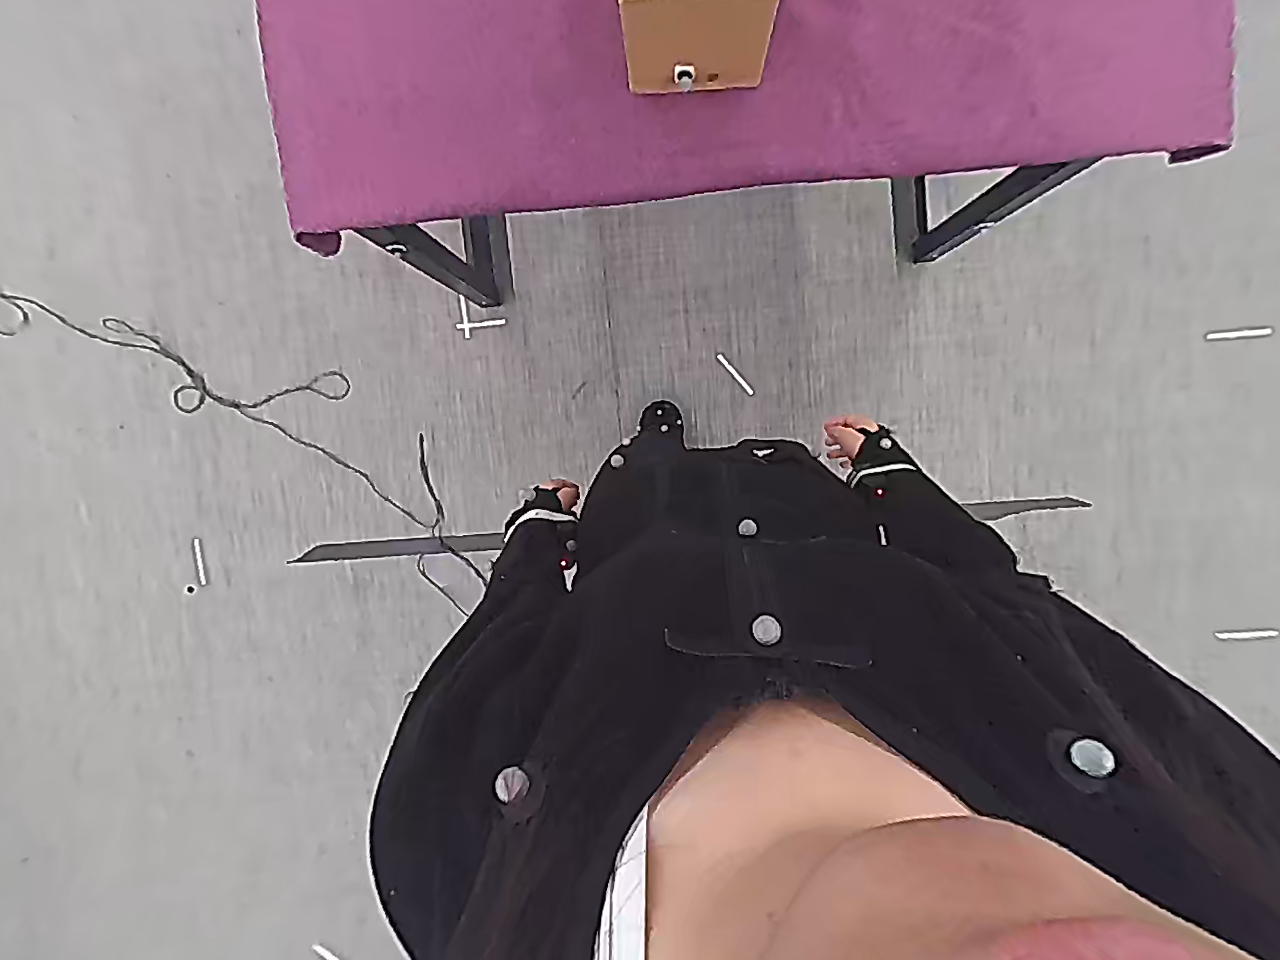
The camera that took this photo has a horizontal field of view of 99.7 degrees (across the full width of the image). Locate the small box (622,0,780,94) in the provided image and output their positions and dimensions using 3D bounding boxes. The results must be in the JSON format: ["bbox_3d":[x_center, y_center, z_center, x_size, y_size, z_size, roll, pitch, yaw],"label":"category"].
[{"bbox_3d":[0.062,-0.580,0.607,0.168,0.176,0.179,-2,96,4],"label":"small box"}]
